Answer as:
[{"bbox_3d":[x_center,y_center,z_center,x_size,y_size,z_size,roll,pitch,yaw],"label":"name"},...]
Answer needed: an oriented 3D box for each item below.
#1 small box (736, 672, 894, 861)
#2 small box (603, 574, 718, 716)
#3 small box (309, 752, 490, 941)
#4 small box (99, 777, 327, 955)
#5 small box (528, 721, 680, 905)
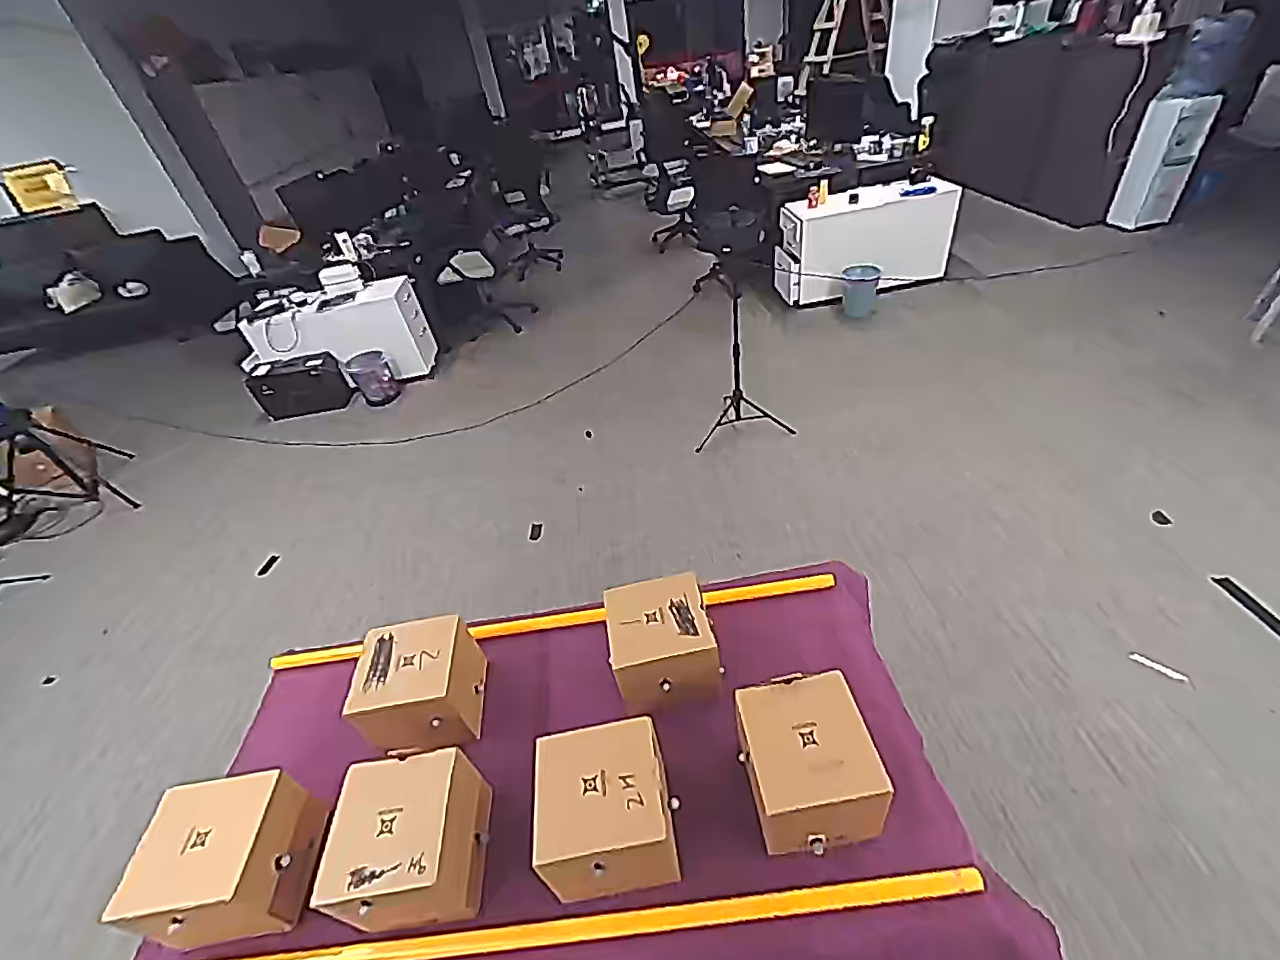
[{"bbox_3d":[0.242,0.415,0.787,0.168,0.176,0.179,-12,37,2],"label":"small box"},{"bbox_3d":[0.039,0.299,0.977,0.179,0.176,0.168,-13,40,0],"label":"small box"},{"bbox_3d":[-0.331,0.532,0.788,0.168,0.176,0.179,-11,39,2],"label":"small box"},{"bbox_3d":[-0.608,0.574,0.805,0.179,0.176,0.168,-11,39,-1],"label":"small box"},{"bbox_3d":[-0.049,0.481,0.780,0.179,0.176,0.168,-11,38,1],"label":"small box"}]
